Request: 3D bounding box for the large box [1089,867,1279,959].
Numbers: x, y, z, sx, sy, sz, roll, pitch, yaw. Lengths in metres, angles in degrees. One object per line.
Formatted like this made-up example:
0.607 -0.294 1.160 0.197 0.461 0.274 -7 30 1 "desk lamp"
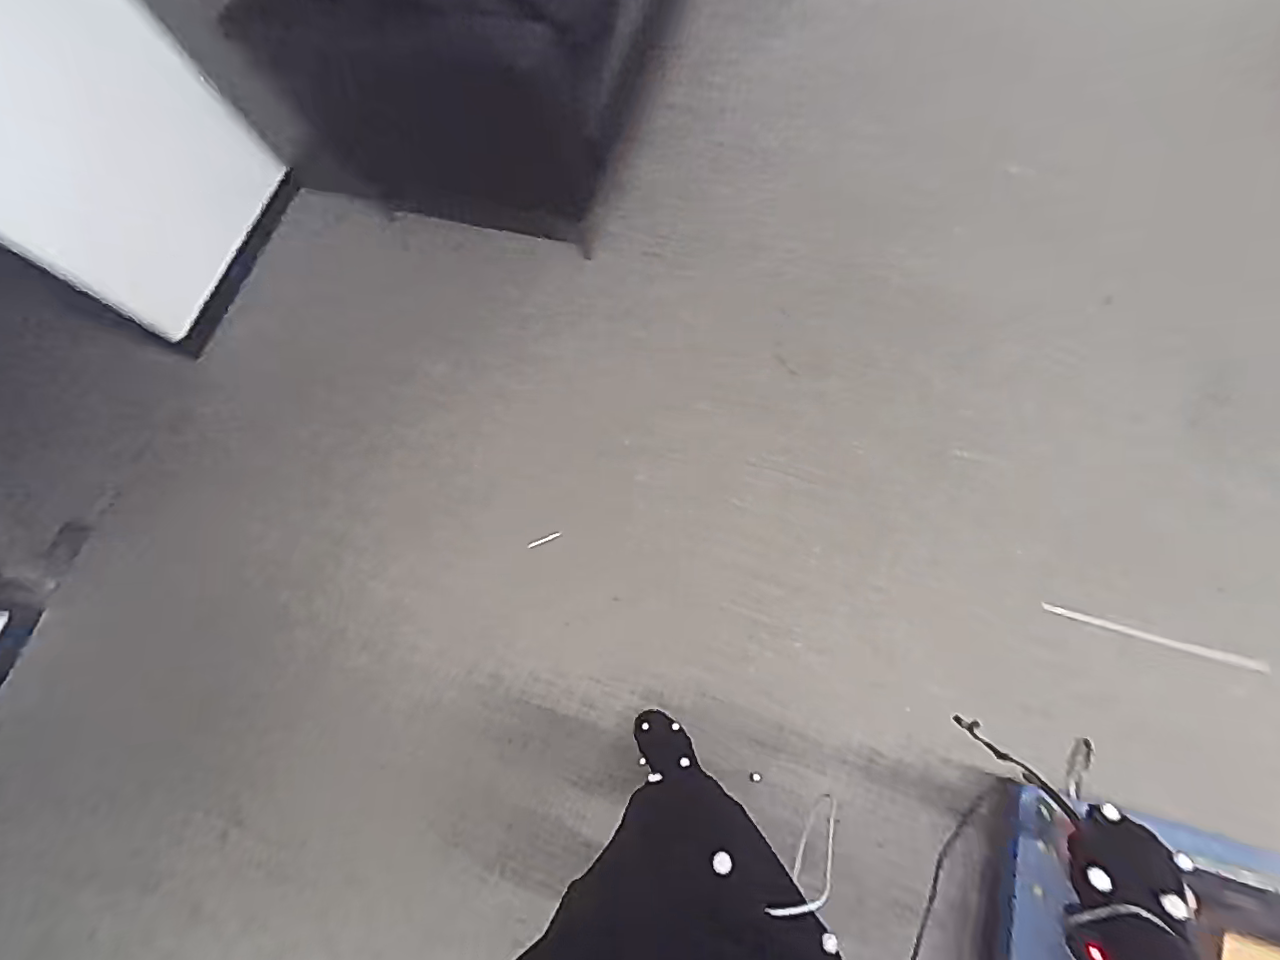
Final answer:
0.952 0.912 0.827 0.320 0.320 0.408 12 75 12 "large box"
